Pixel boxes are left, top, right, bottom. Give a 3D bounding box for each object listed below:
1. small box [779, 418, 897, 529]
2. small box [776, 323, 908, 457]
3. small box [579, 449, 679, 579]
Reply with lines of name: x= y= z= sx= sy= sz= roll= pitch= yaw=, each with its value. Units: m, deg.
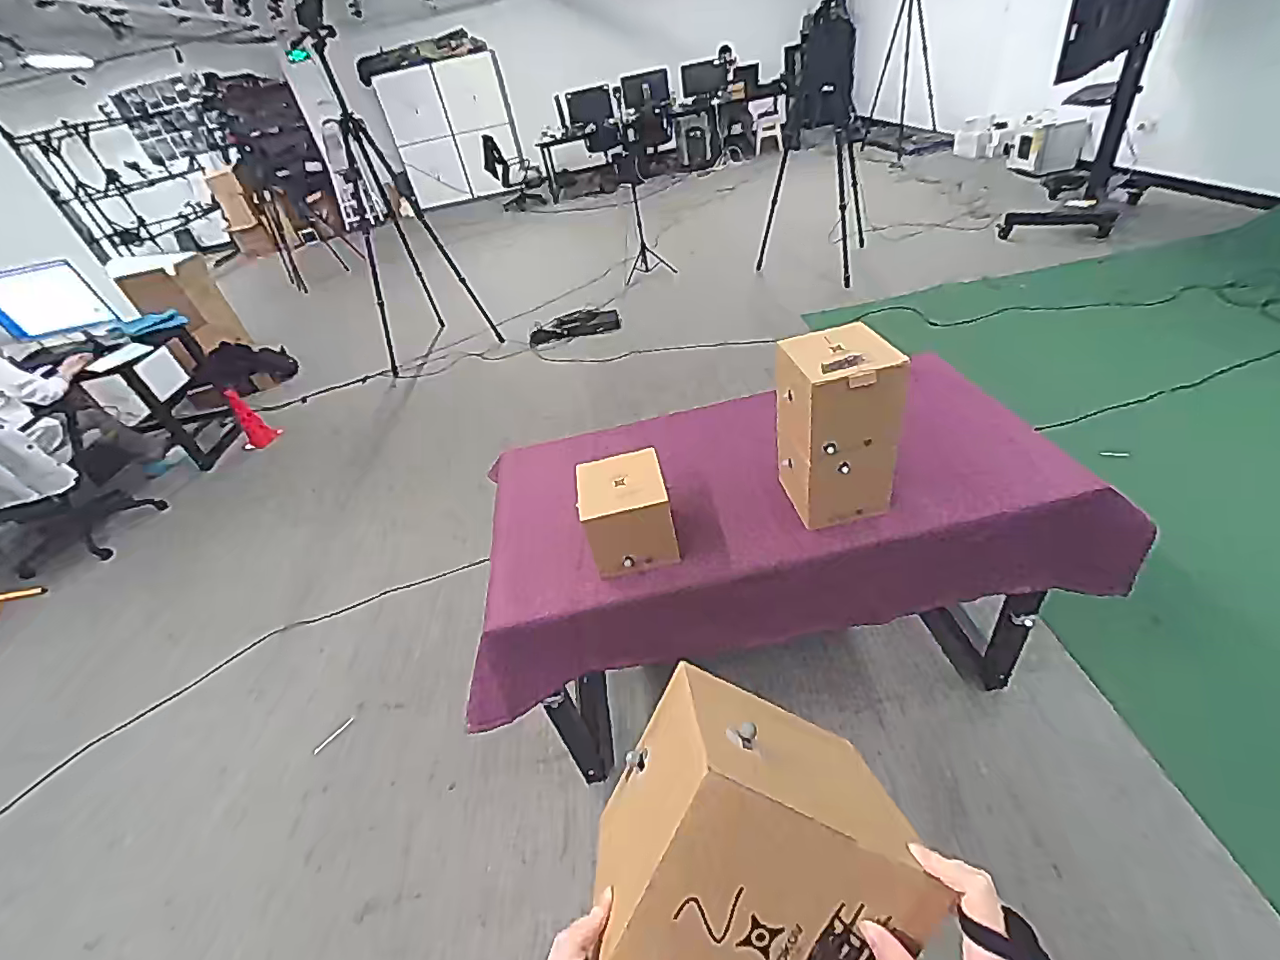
small box: x=0.386 y=-0.031 z=1.081 sx=0.168 sy=0.176 sz=0.179 roll=-14 pitch=37 yaw=1
small box: x=0.356 y=-0.157 z=0.980 sx=0.168 sy=0.176 sz=0.179 roll=-13 pitch=38 yaw=0
small box: x=-0.023 y=0.068 z=1.081 sx=0.168 sy=0.176 sz=0.179 roll=-13 pitch=39 yaw=1
